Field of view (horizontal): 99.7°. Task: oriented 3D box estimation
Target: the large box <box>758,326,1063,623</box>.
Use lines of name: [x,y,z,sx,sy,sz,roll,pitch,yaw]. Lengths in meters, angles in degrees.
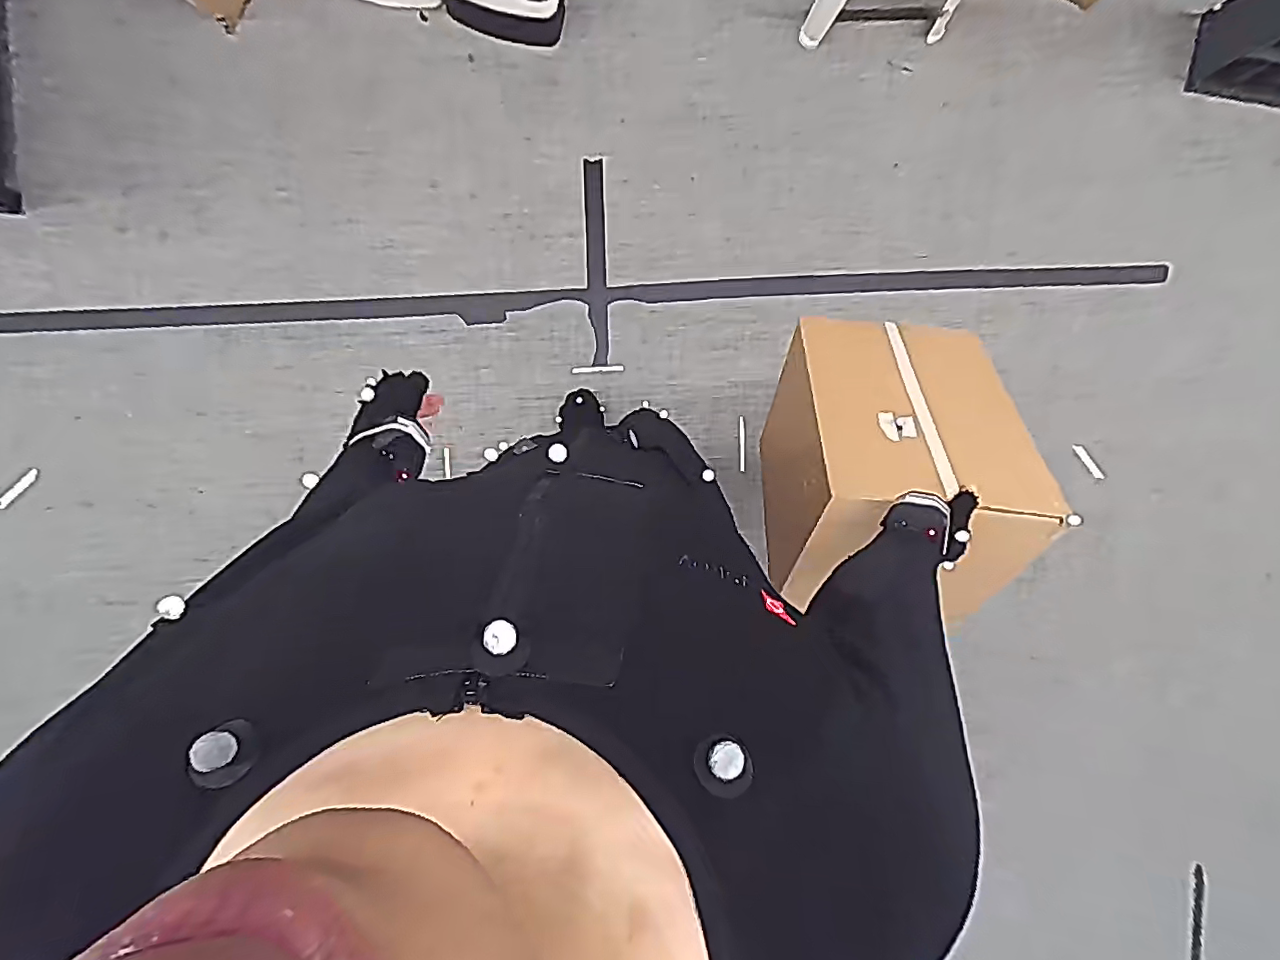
large box: [0.407,-0.012,0.946,0.320,0.320,0.408,6,51,0]
